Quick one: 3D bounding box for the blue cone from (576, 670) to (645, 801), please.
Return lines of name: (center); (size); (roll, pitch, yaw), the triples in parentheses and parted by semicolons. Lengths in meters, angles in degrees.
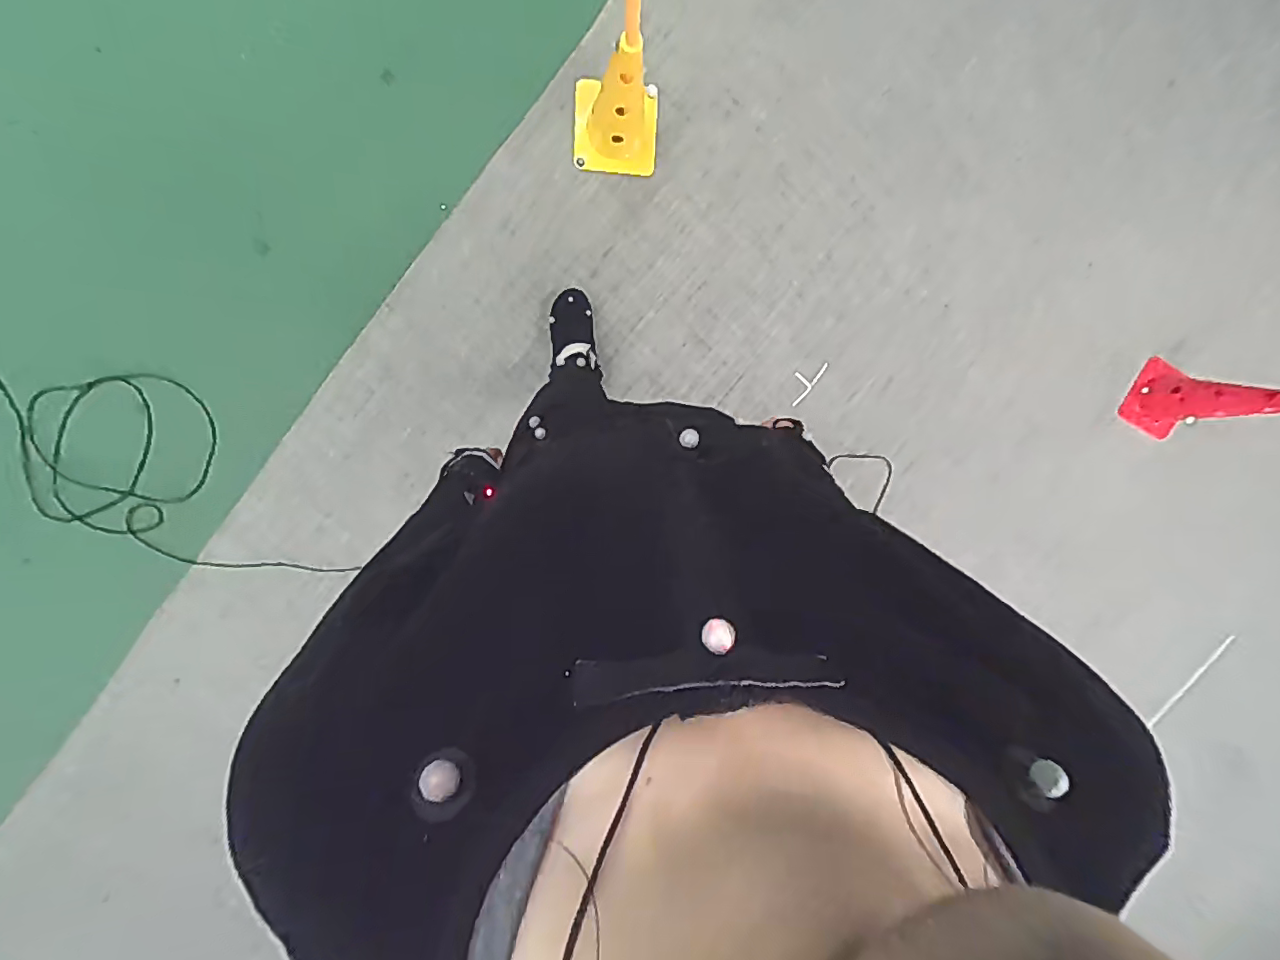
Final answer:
blue cone: (-0.063, 0.688, 1.434); (0.192, 0.380, 0.193); (-7, 104, -6)
